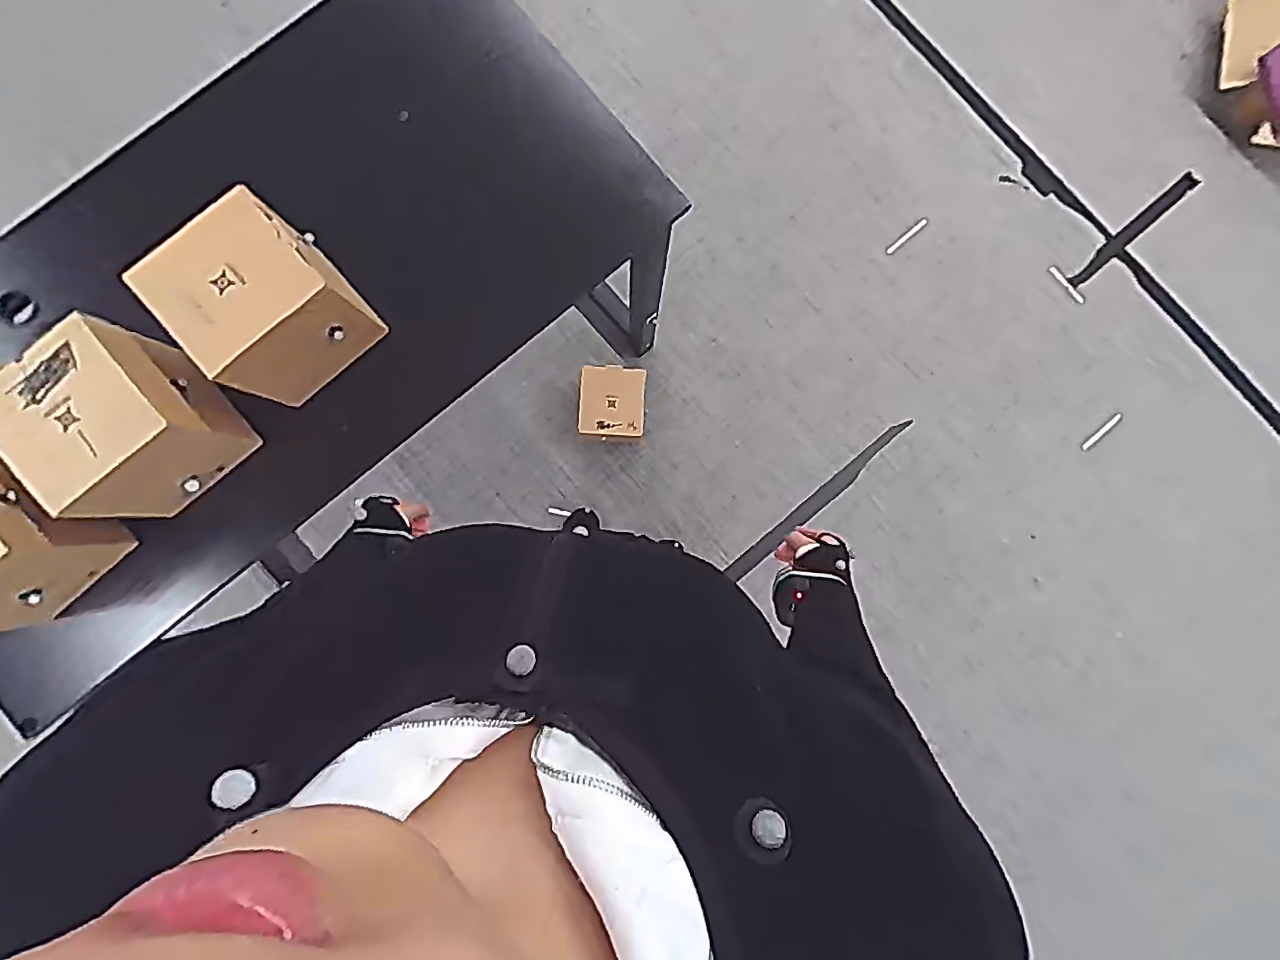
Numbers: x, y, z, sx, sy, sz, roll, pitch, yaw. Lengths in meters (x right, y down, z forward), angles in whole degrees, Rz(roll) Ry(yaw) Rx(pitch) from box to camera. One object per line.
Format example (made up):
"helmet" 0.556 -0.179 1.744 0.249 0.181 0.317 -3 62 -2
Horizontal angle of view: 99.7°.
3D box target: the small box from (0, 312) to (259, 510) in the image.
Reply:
"small box" -0.653 -0.074 0.692 0.168 0.176 0.179 -41 89 -3

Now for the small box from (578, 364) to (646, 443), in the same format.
"small box" -0.074 -0.199 1.448 0.168 0.176 0.179 3 87 -1

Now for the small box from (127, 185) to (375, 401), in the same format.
"small box" -0.482 -0.229 0.709 0.179 0.176 0.168 -41 88 -3
